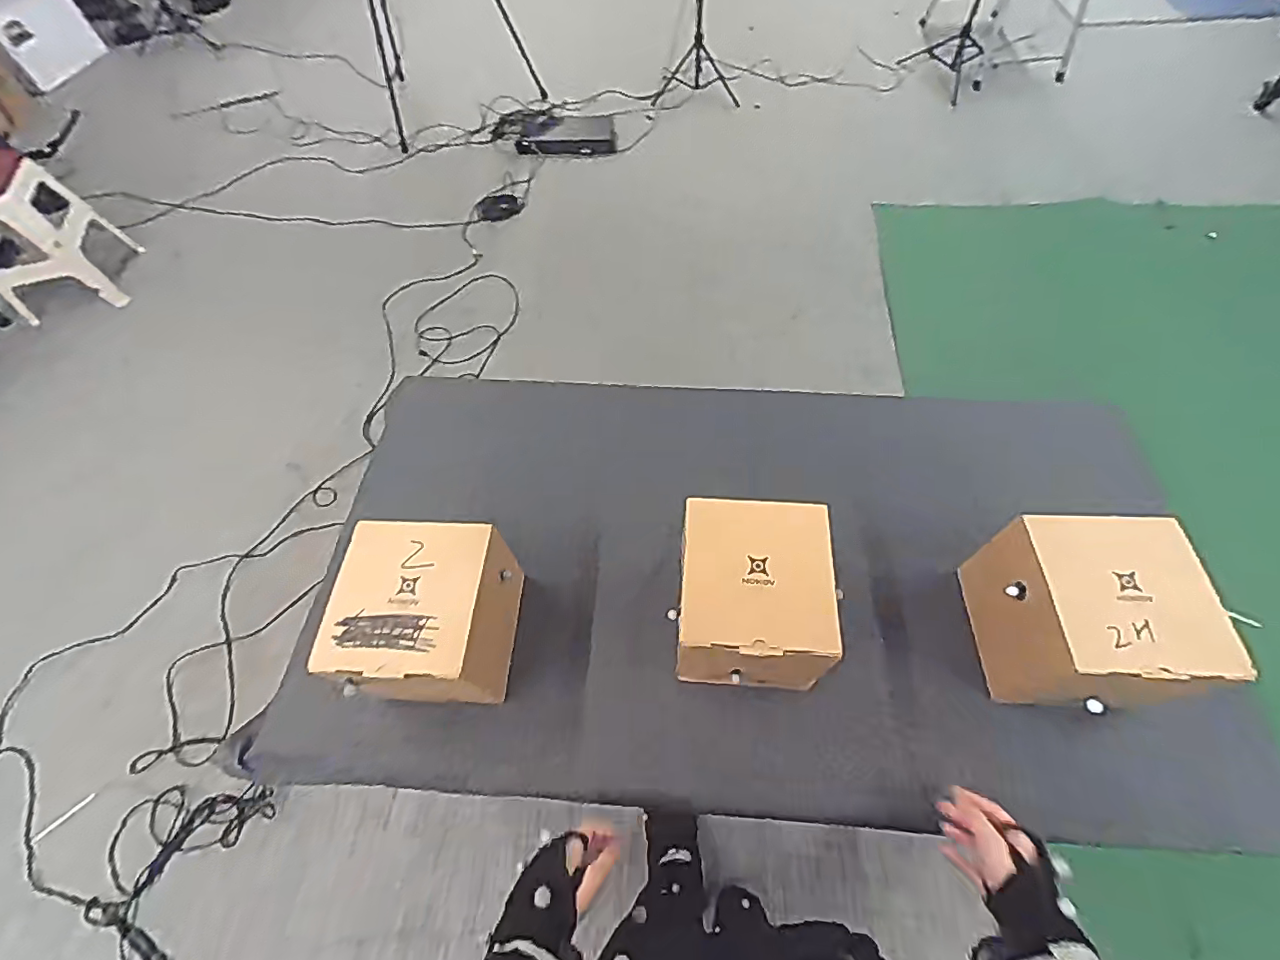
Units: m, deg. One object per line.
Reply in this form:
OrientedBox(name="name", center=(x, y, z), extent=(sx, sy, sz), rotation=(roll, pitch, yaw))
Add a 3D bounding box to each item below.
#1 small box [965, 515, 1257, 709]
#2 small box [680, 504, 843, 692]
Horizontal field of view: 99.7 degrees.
OrientedBox(name="small box", center=(0.512, 0.156, 0.628), extent=(0.168, 0.176, 0.179), rotation=(0, 59, 5))
OrientedBox(name="small box", center=(0.136, 0.148, 0.665), extent=(0.168, 0.176, 0.179), rotation=(2, 59, 5))
